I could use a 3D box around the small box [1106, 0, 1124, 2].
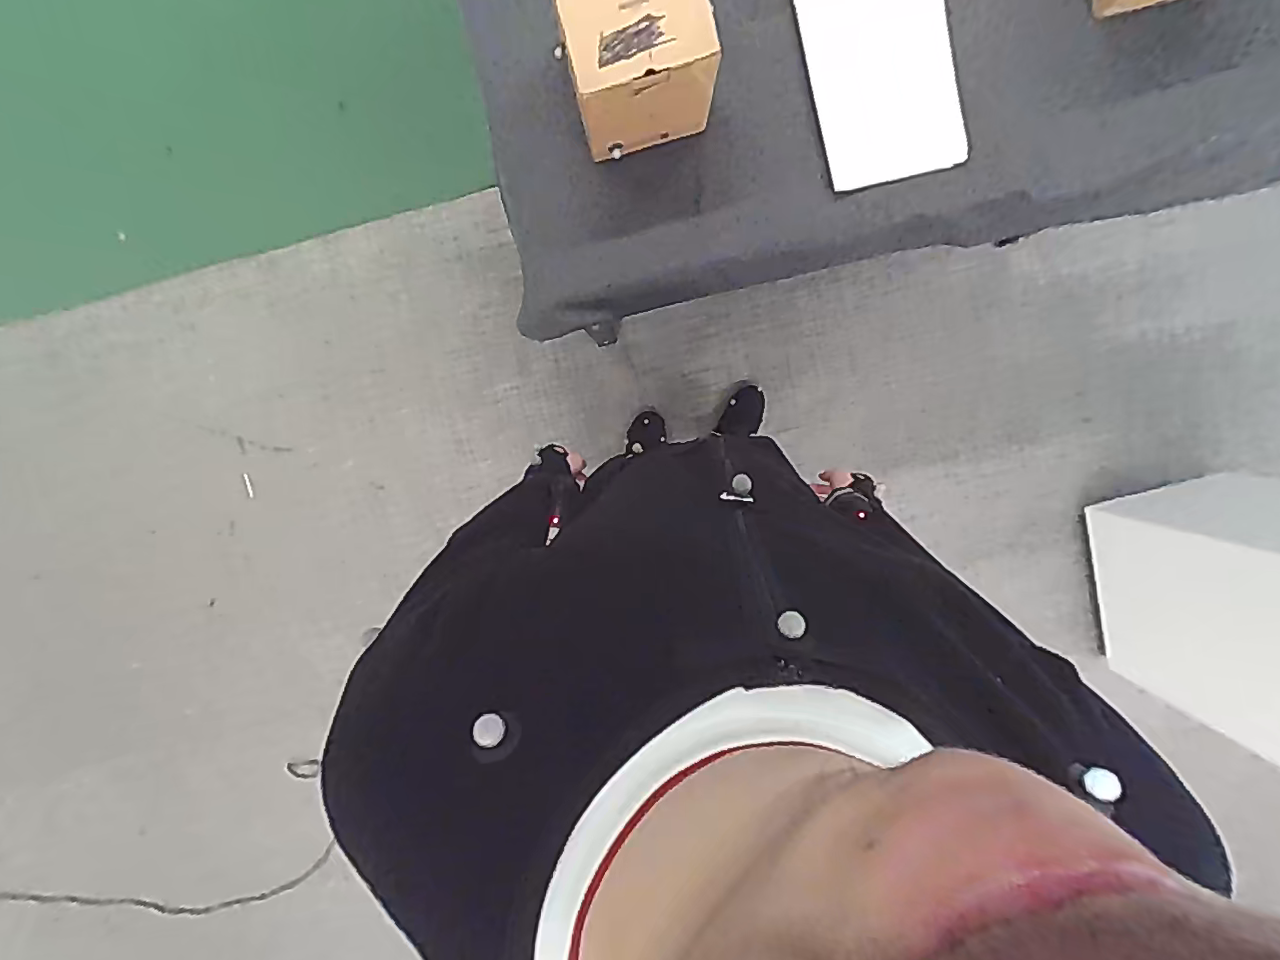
[{"bbox_3d":[0.675,-0.723,0.643,0.168,0.176,0.179,-13,100,2],"label":"small box"}]

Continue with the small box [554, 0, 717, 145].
[{"bbox_3d":[-0.011,-0.552,0.675,0.168,0.176,0.179,-15,98,2],"label":"small box"}]
